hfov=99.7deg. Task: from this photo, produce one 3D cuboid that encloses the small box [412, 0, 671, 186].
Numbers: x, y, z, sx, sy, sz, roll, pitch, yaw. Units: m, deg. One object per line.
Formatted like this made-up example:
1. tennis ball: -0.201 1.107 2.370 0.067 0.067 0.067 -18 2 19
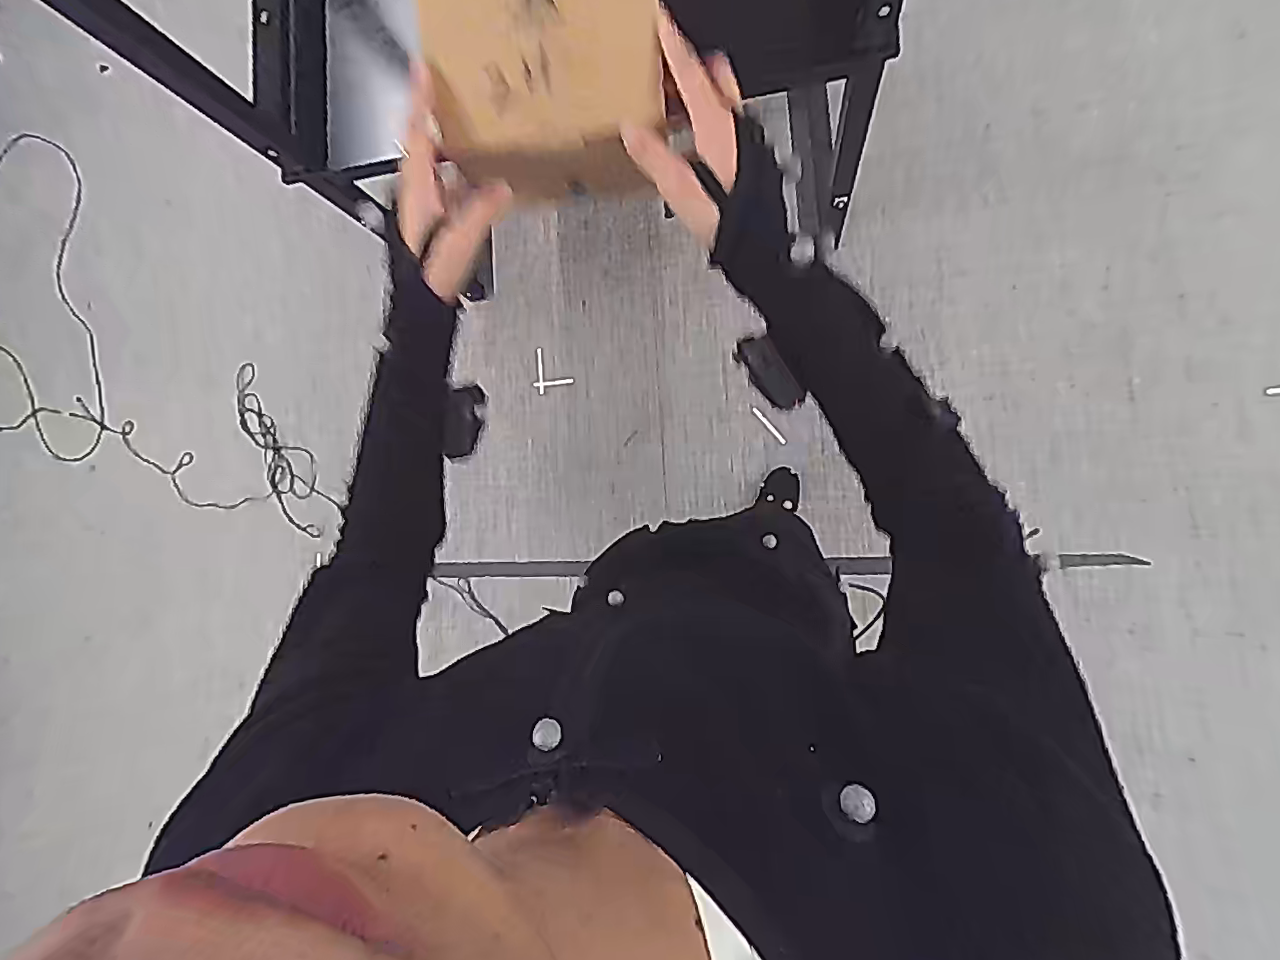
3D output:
1. small box: -0.064 -0.352 0.420 0.168 0.176 0.179 -4 107 5
